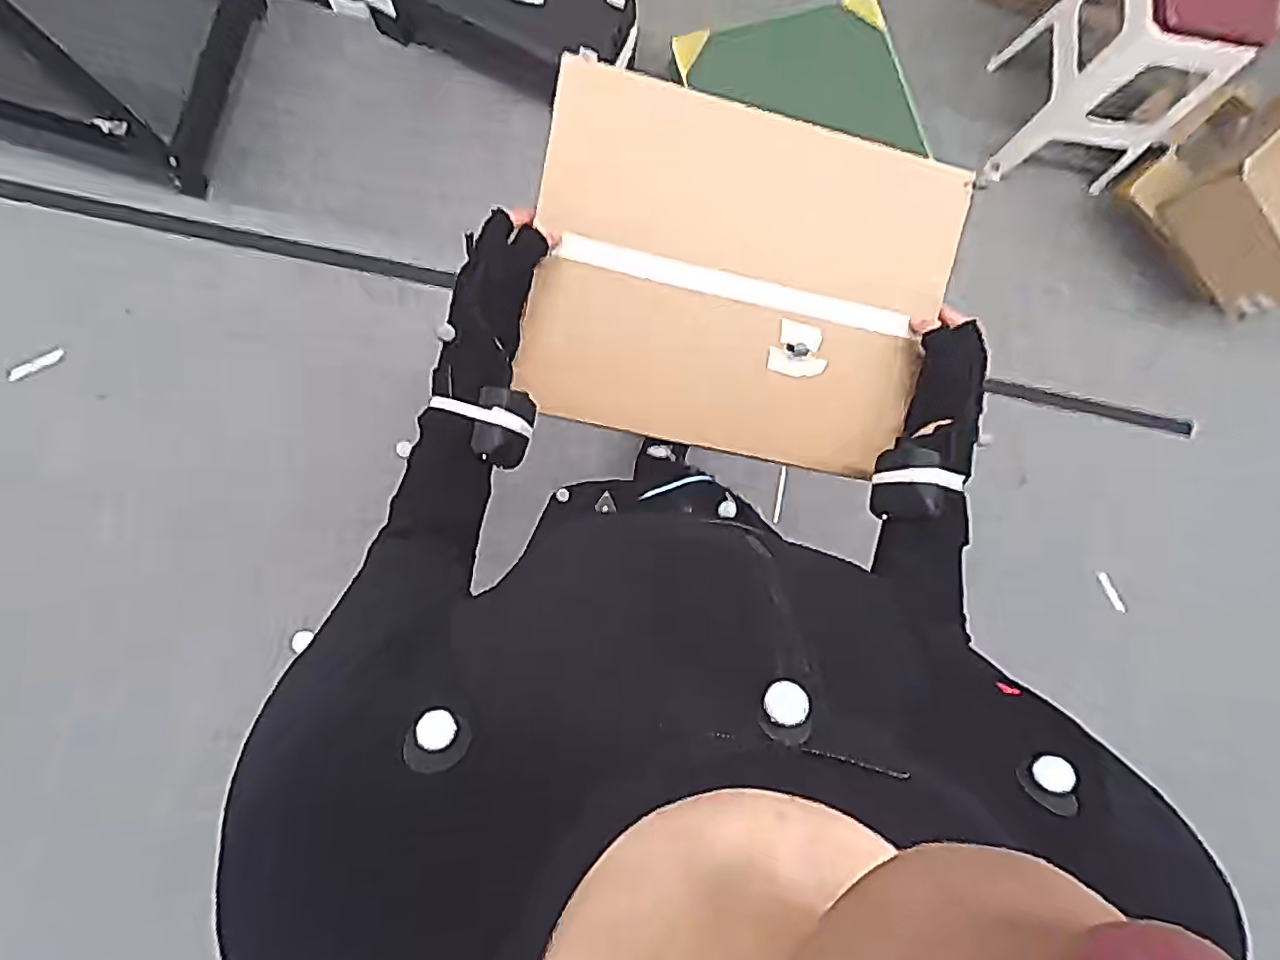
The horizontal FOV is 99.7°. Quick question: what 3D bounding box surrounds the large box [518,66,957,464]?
[{"bbox_3d":[0.081,-0.219,0.680,0.408,0.320,0.320,10,99,-8],"label":"large box"}]
